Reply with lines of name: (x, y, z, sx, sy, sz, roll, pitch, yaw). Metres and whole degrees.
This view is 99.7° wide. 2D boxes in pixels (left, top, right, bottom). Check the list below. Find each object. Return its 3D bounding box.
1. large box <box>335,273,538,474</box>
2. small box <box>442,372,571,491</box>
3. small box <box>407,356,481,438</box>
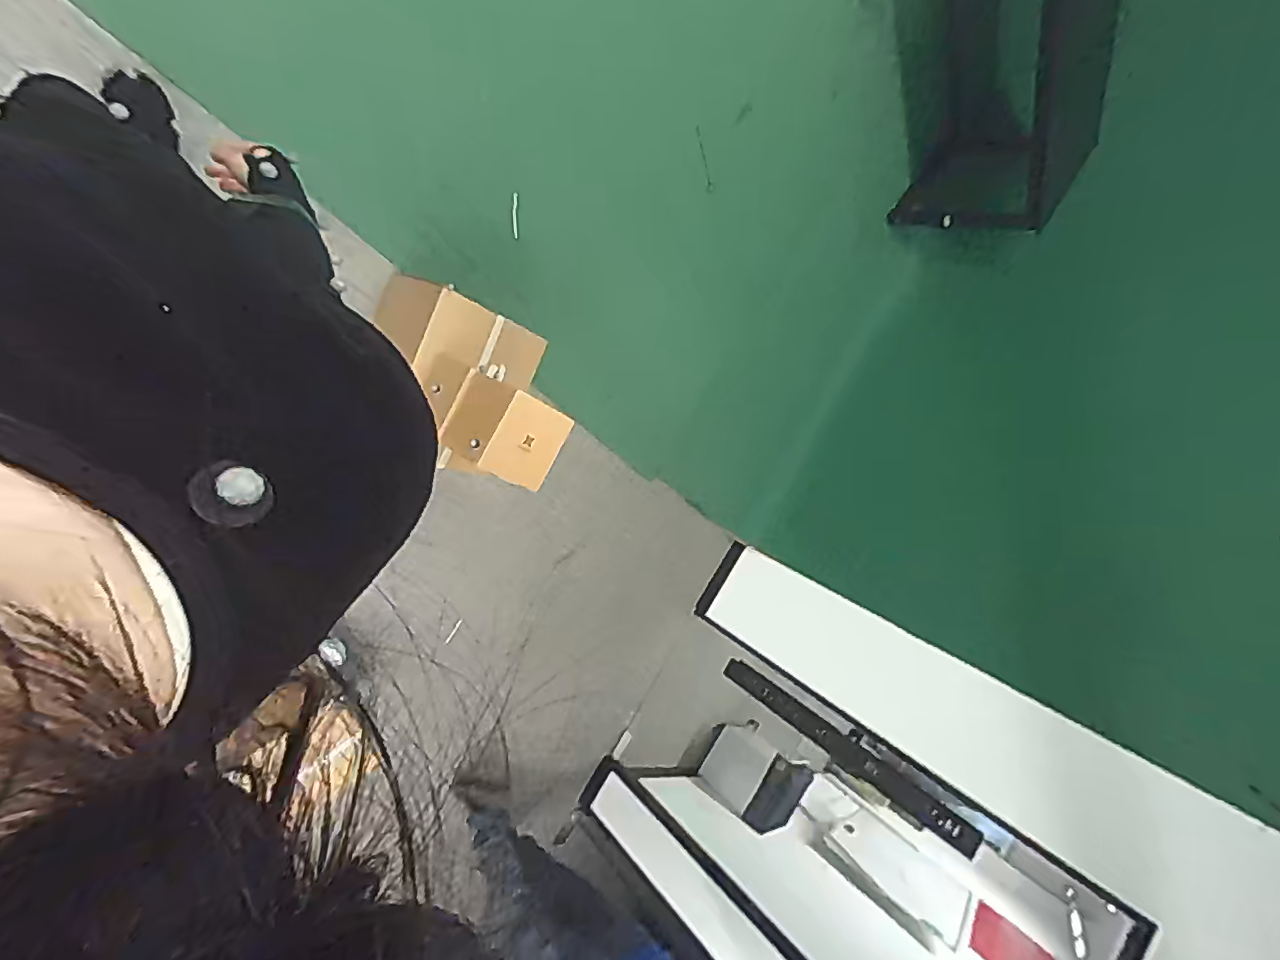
large box: (-0.536, -0.274, 1.417, 0.320, 0.320, 0.408, 18, 96, -51)
small box: (-0.286, -0.105, 1.139, 0.168, 0.176, 0.179, 28, 90, -50)
small box: (-0.398, -0.169, 1.238, 0.179, 0.176, 0.168, 27, 91, -50)
